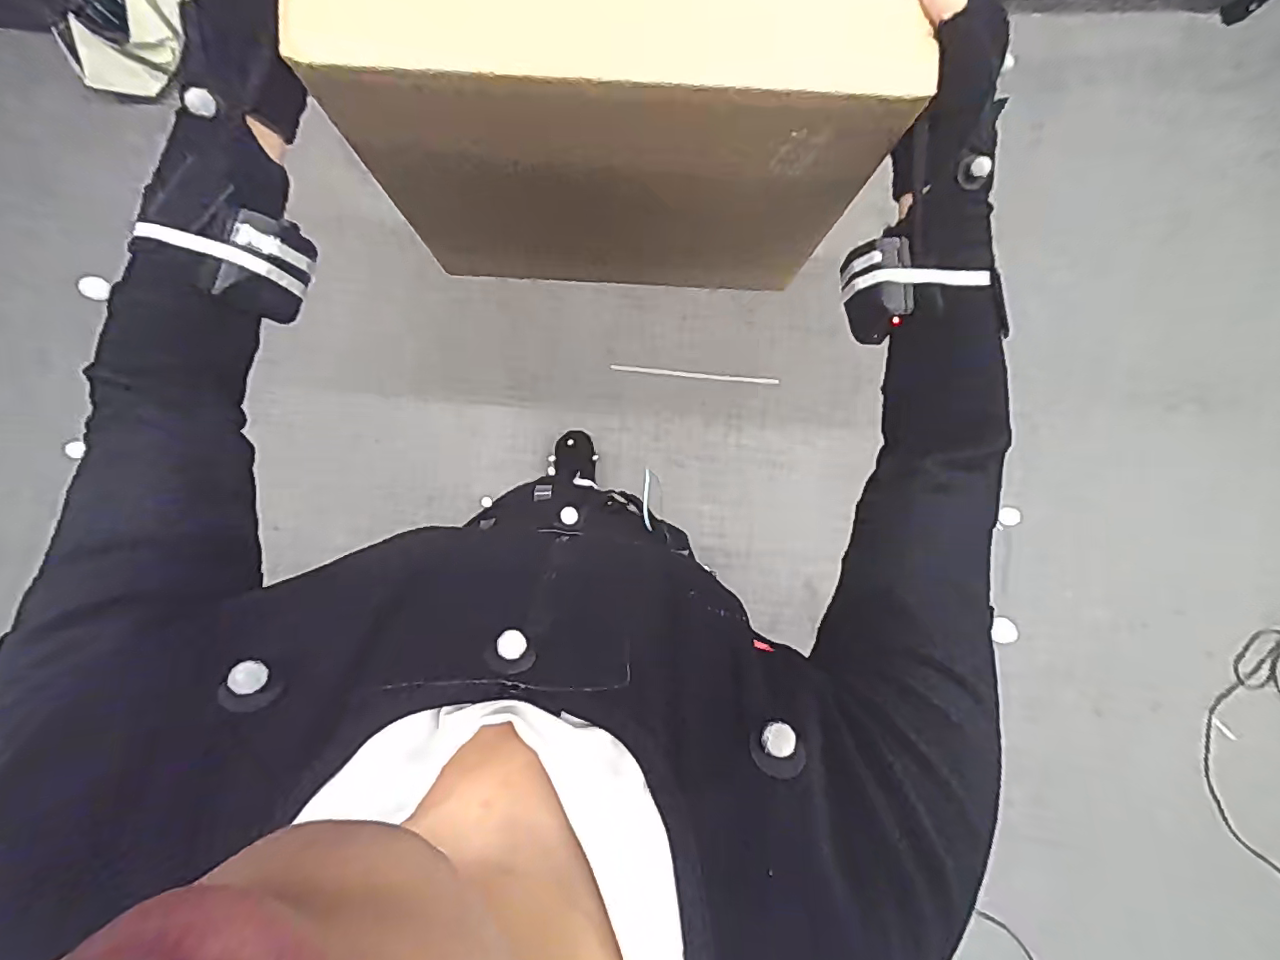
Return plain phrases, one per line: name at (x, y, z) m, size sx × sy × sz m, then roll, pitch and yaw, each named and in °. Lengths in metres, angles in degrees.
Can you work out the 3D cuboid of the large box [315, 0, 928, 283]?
large box at (-0.014, -0.399, 0.505) m, size 0.408 × 0.320 × 0.320 m, roll 2°, pitch 87°, yaw -3°
